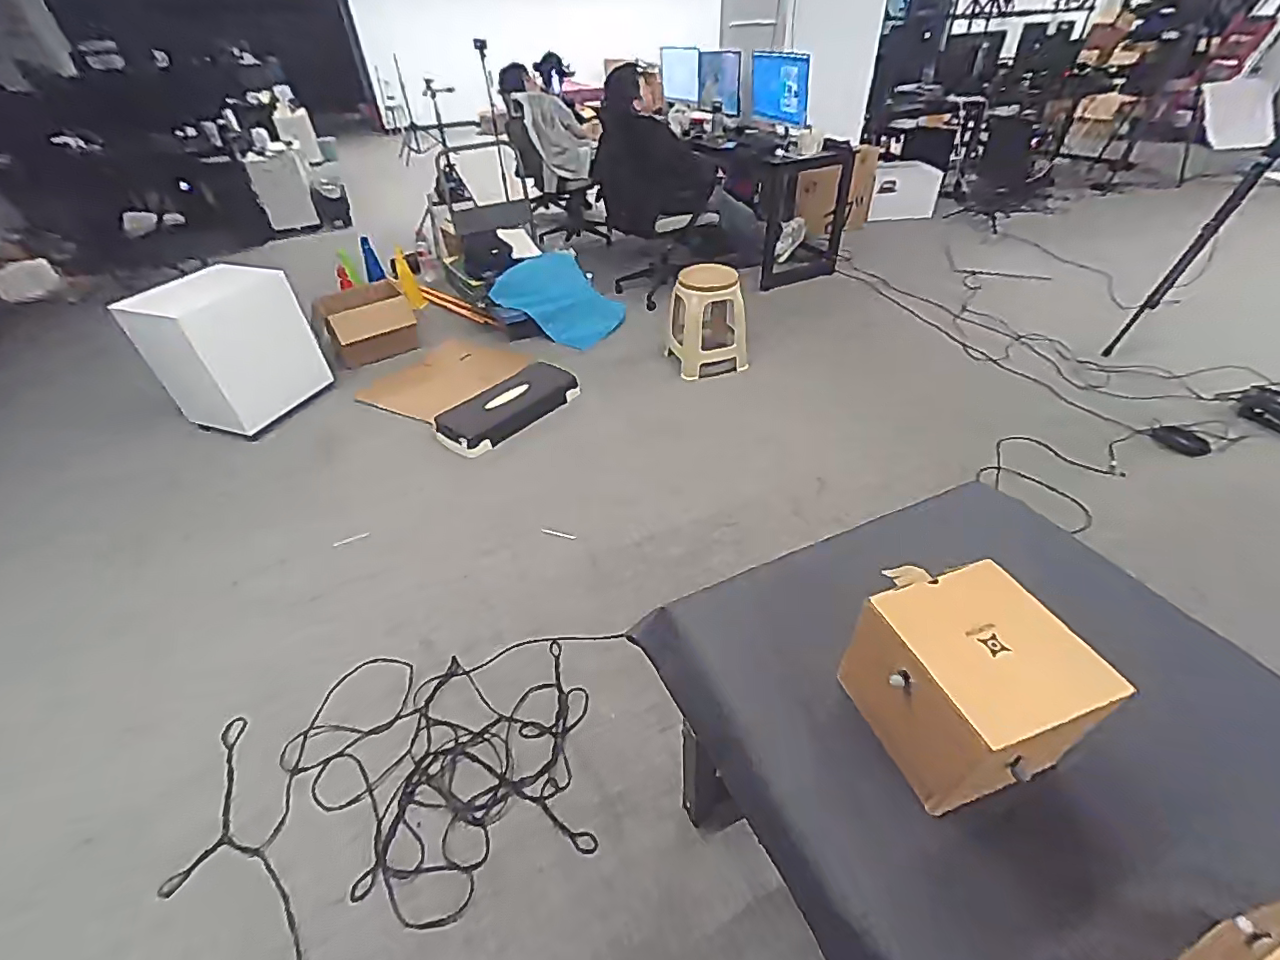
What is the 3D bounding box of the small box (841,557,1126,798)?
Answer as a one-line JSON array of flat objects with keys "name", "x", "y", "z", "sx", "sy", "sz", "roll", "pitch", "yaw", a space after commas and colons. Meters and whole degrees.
[{"name": "small box", "x": 0.352, "y": 0.220, "z": 0.596, "sx": 0.168, "sy": 0.176, "sz": 0.179, "roll": -14, "pitch": 41, "yaw": -13}]
